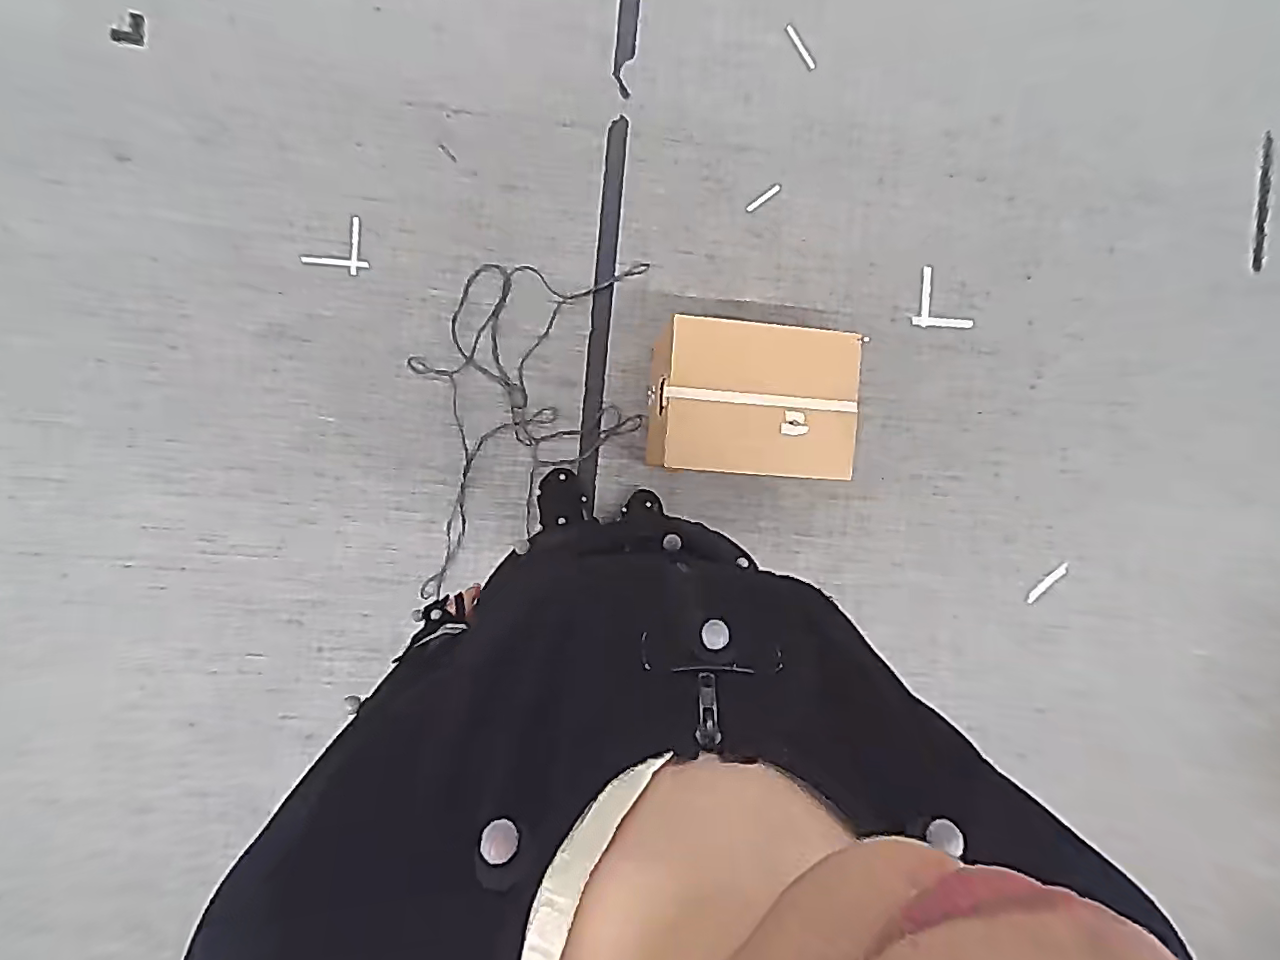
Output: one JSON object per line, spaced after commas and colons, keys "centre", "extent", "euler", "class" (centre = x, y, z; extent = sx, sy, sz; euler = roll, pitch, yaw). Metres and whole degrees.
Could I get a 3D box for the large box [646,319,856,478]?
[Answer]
{"centre": [0.234, -0.169, 1.268], "extent": [0.408, 0.320, 0.320], "euler": [4, 92, -7], "class": "large box"}
